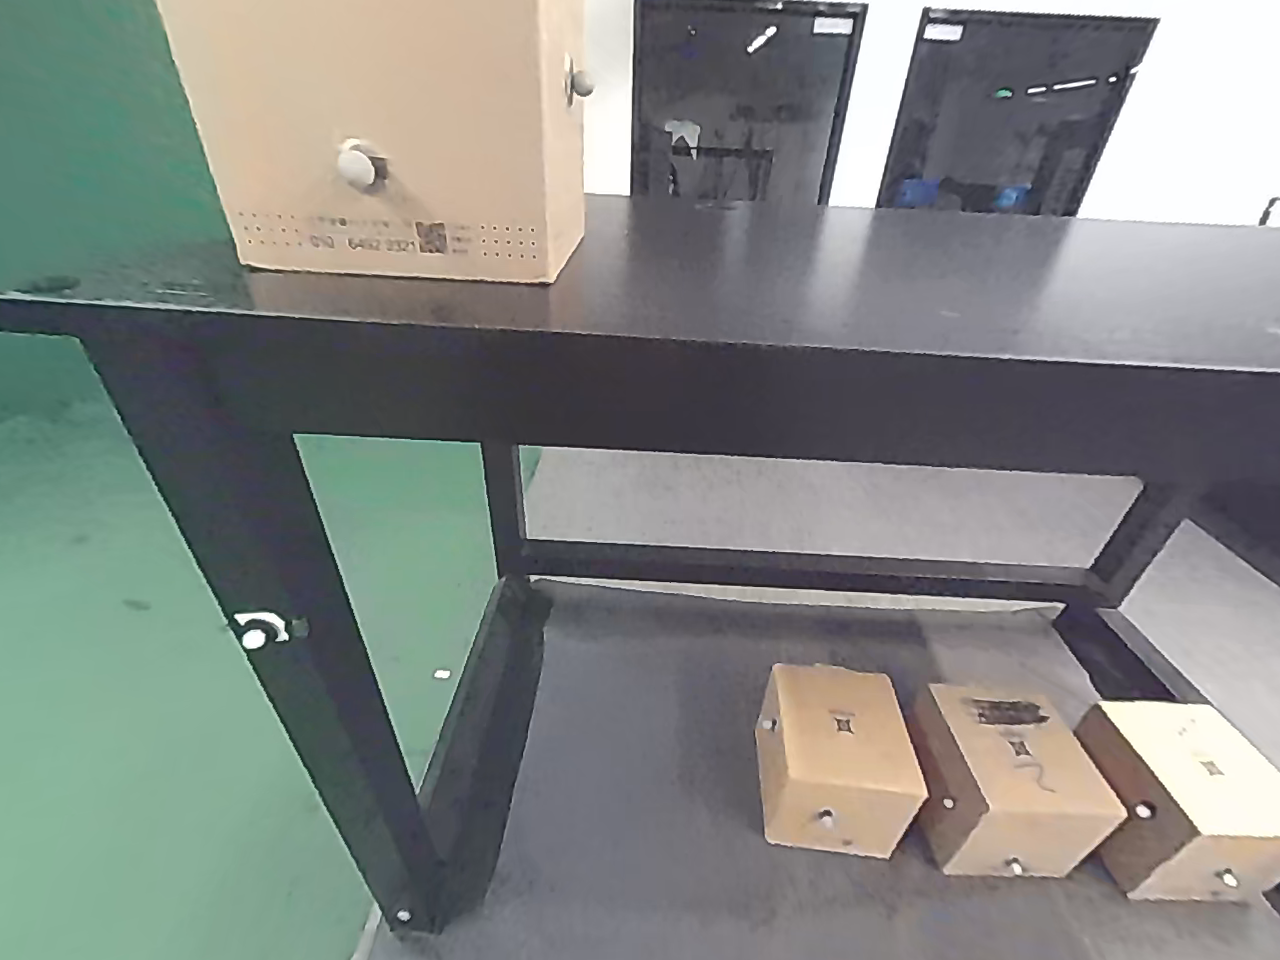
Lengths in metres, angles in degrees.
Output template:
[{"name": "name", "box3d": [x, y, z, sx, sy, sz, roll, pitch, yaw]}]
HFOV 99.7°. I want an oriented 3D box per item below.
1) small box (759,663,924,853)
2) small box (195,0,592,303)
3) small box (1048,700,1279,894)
[{"name": "small box", "box3d": [0.267, 0.390, 0.763, 0.168, 0.176, 0.179, 5, 32, 4]}, {"name": "small box", "box3d": [-0.119, -0.216, 0.319, 0.168, 0.176, 0.179, 2, 33, -1]}, {"name": "small box", "box3d": [0.713, 0.427, 0.731, 0.168, 0.176, 0.179, 2, 32, -1]}]
